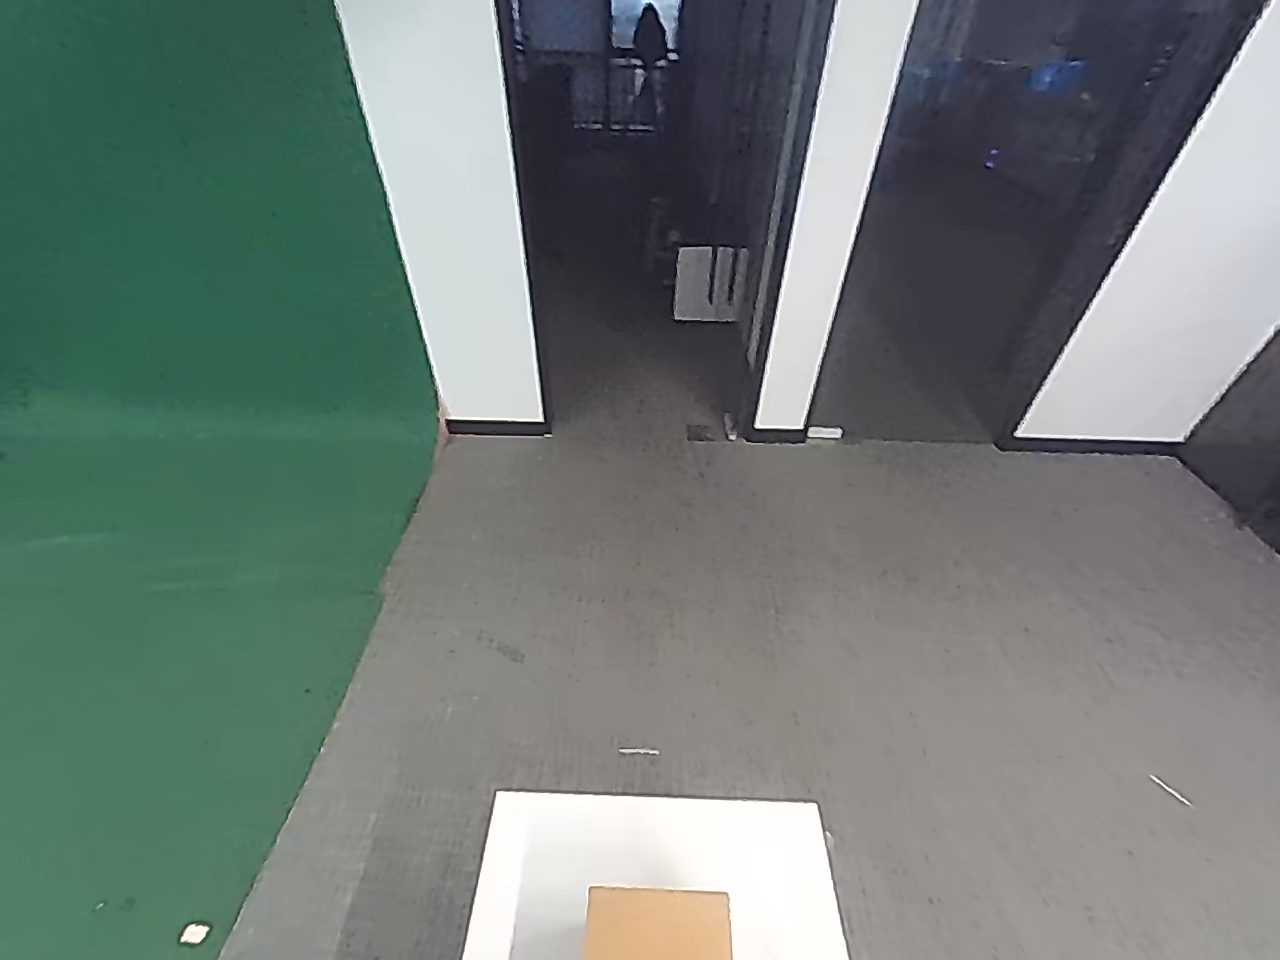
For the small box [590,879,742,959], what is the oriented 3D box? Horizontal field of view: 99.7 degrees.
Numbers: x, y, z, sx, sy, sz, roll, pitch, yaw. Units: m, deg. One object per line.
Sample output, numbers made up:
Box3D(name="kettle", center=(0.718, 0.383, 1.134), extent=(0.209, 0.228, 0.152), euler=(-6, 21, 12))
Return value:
Box3D(name="small box", center=(0.024, 0.583, 0.610), extent=(0.168, 0.176, 0.179), euler=(2, 40, 0))
